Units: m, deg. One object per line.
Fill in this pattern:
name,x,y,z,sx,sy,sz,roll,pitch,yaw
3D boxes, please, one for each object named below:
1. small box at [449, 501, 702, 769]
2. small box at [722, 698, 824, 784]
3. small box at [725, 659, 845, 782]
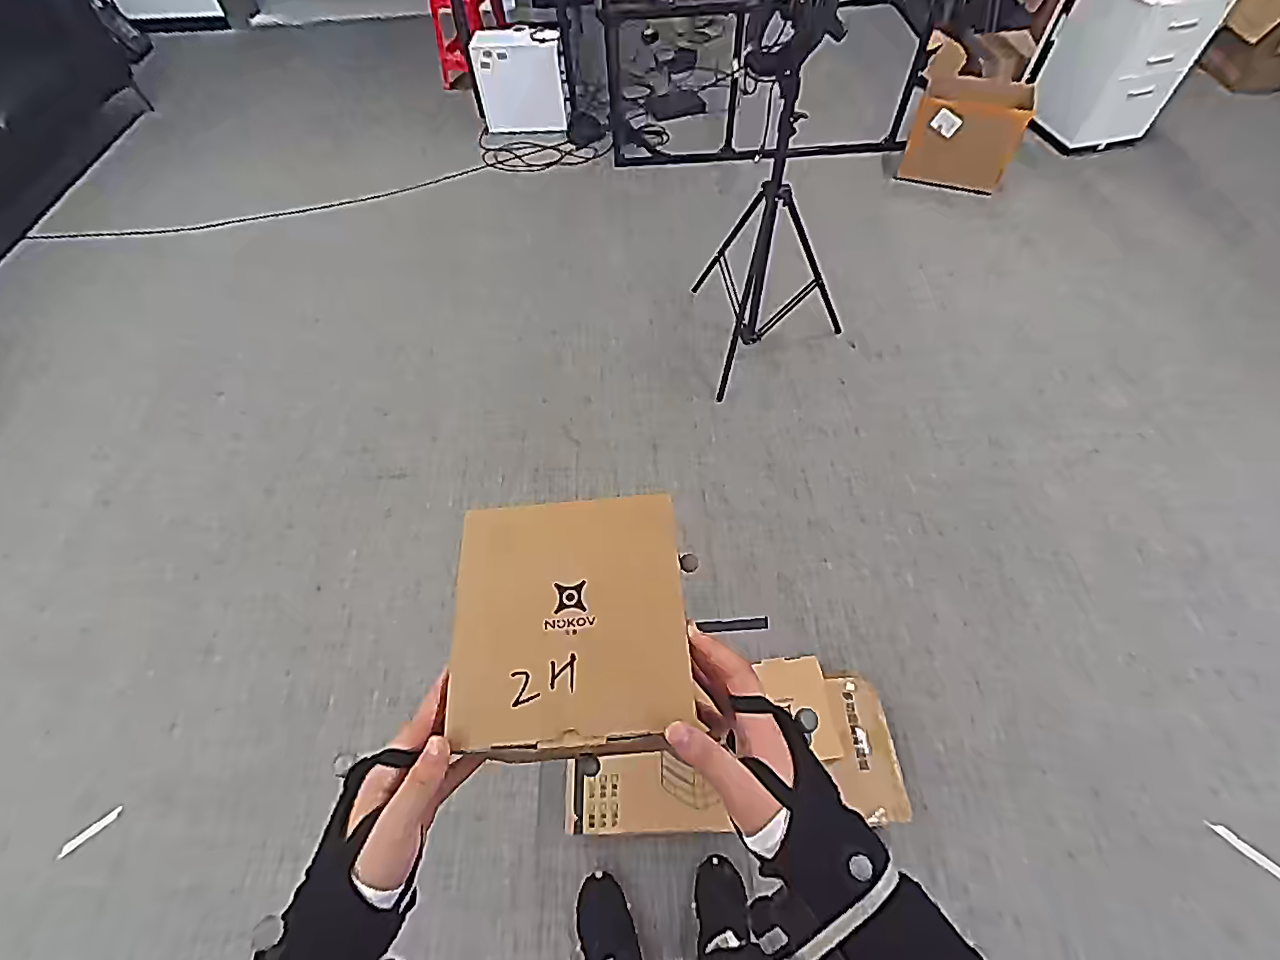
small box,-0.044,0.137,0.456,0.168,0.176,0.179,-5,60,0
small box,0.276,0.549,1.160,0.168,0.176,0.179,-5,57,-1
small box,0.262,0.458,1.025,0.168,0.176,0.179,-7,56,-1
